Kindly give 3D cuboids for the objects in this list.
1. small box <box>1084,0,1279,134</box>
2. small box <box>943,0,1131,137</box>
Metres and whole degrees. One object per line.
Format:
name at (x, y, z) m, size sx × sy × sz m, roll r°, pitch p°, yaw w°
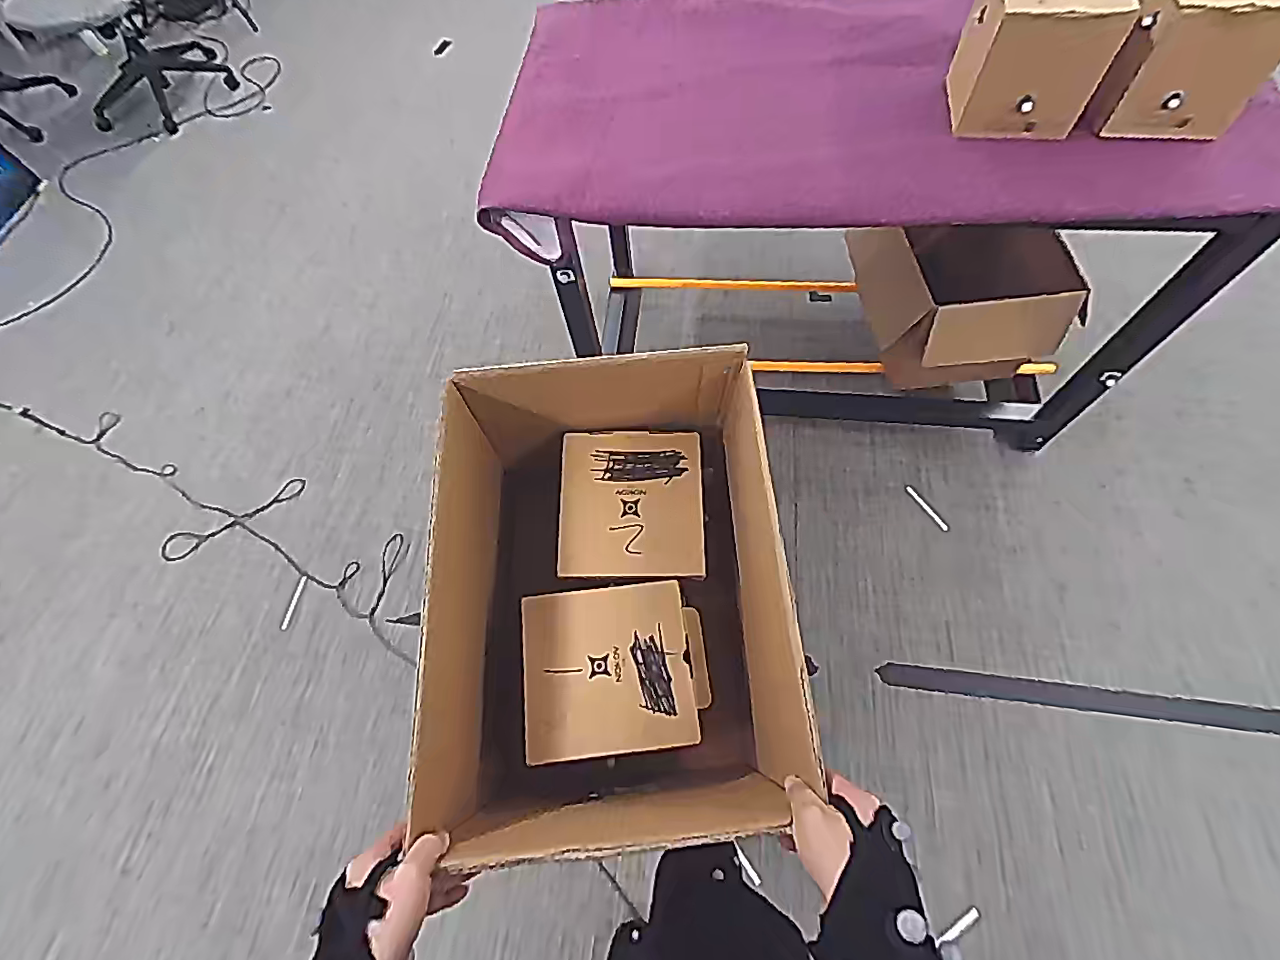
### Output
small box at (0.793, -0.649, 0.798) m, size 0.168 × 0.176 × 0.179 m, roll 7°, pitch 64°, yaw 10°
small box at (0.584, -0.662, 0.826) m, size 0.168 × 0.176 × 0.179 m, roll 7°, pitch 64°, yaw 9°
